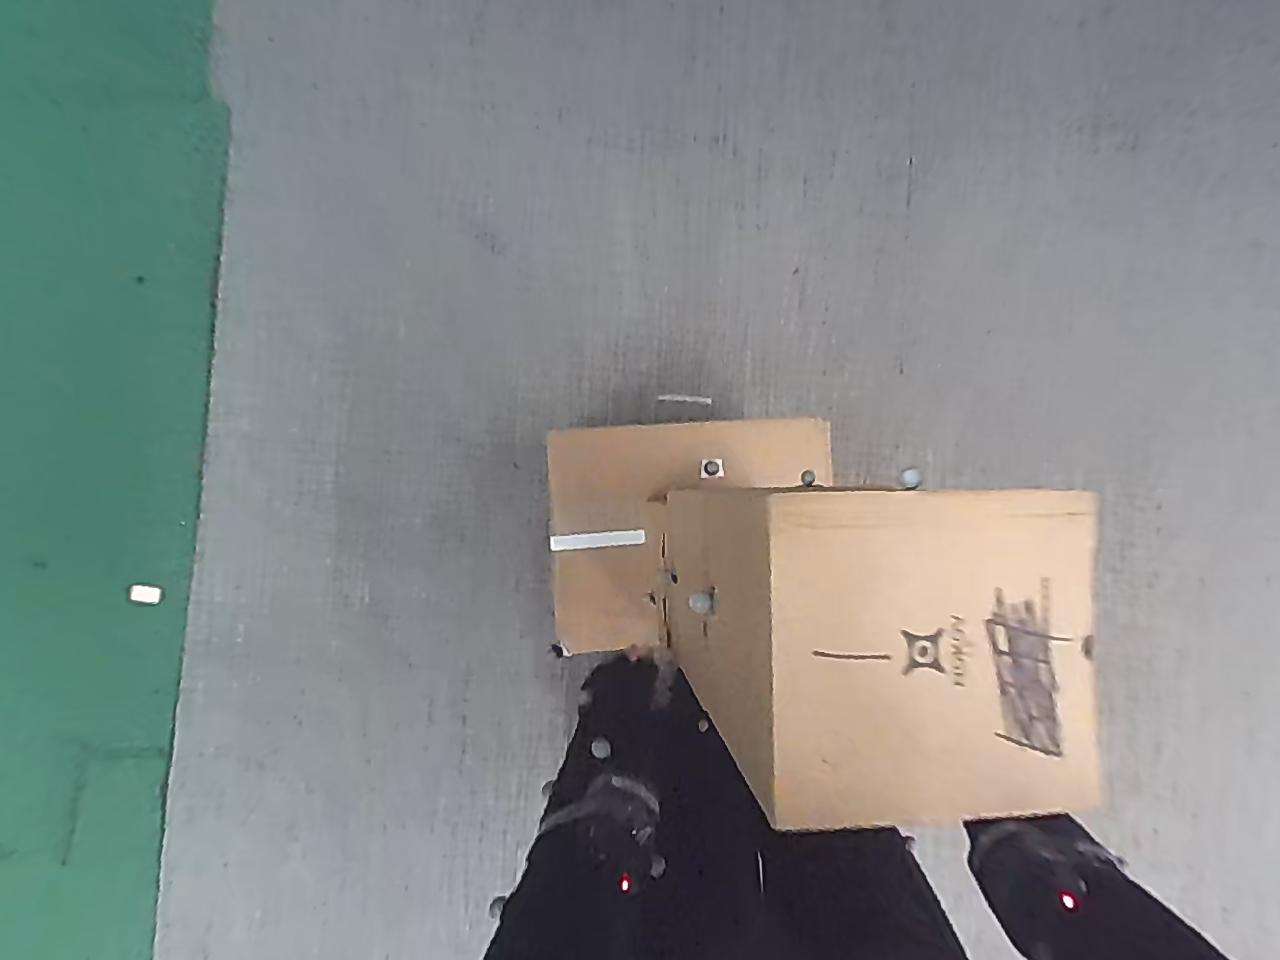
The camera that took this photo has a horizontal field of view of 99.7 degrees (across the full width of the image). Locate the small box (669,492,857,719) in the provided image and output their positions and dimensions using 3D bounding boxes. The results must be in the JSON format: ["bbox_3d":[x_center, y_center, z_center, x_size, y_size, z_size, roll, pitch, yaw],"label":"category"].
[{"bbox_3d":[0.121,0.102,0.512,0.168,0.176,0.179,-1,89,-5],"label":"small box"}]

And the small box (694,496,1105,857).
[{"bbox_3d":[0.141,0.096,0.349,0.179,0.176,0.168,-3,89,-6],"label":"small box"}]

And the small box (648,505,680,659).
[{"bbox_3d":[0.104,0.113,0.676,0.179,0.176,0.168,-2,89,-7],"label":"small box"}]
